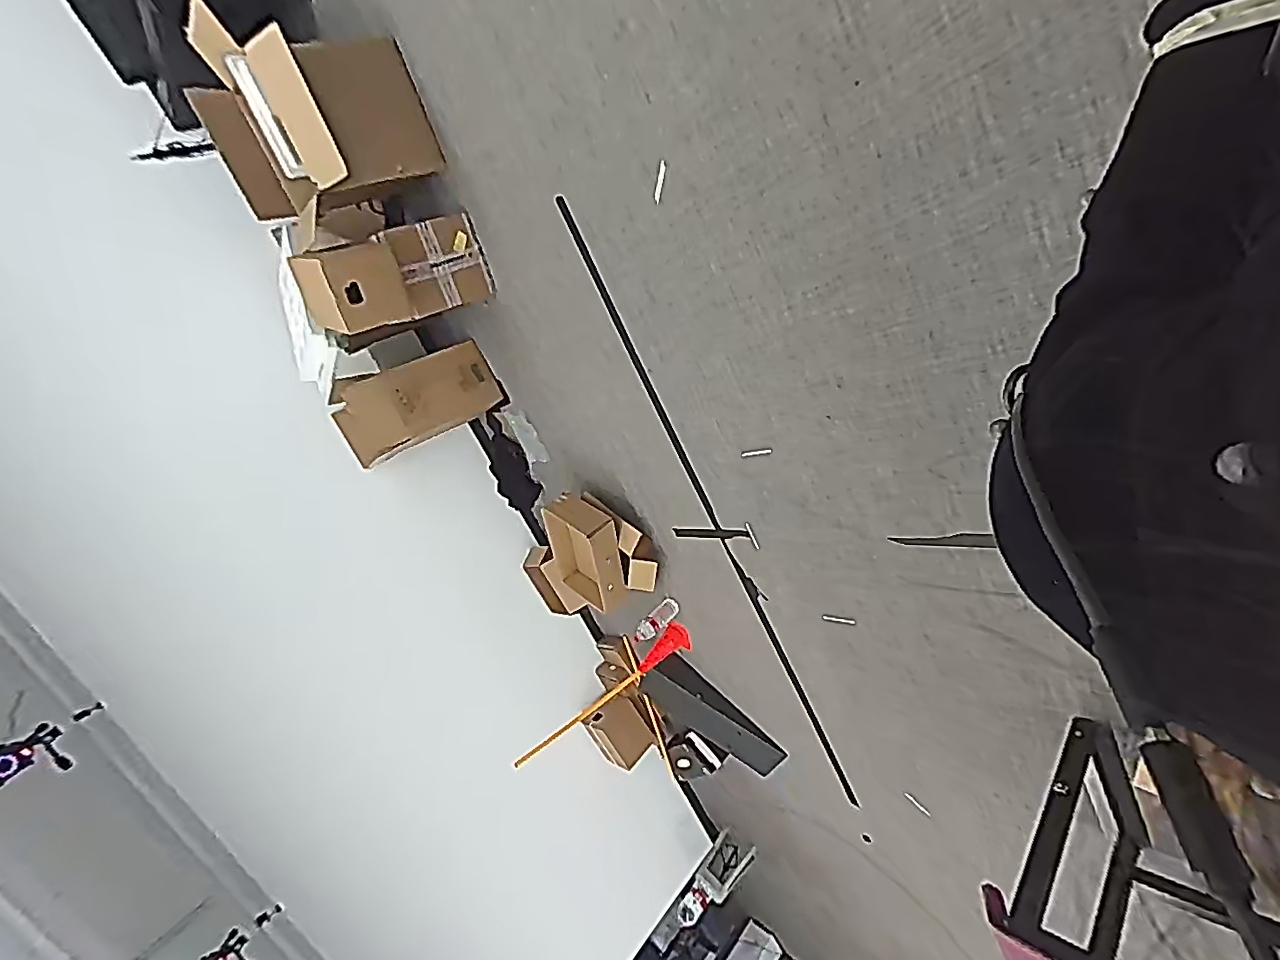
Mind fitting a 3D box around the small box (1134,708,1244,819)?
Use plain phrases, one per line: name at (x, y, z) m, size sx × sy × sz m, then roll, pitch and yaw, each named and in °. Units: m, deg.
small box at (1.469, 0.747, 1.449) m, size 0.179 × 0.176 × 0.168 m, roll 14°, pitch 130°, yaw 44°
